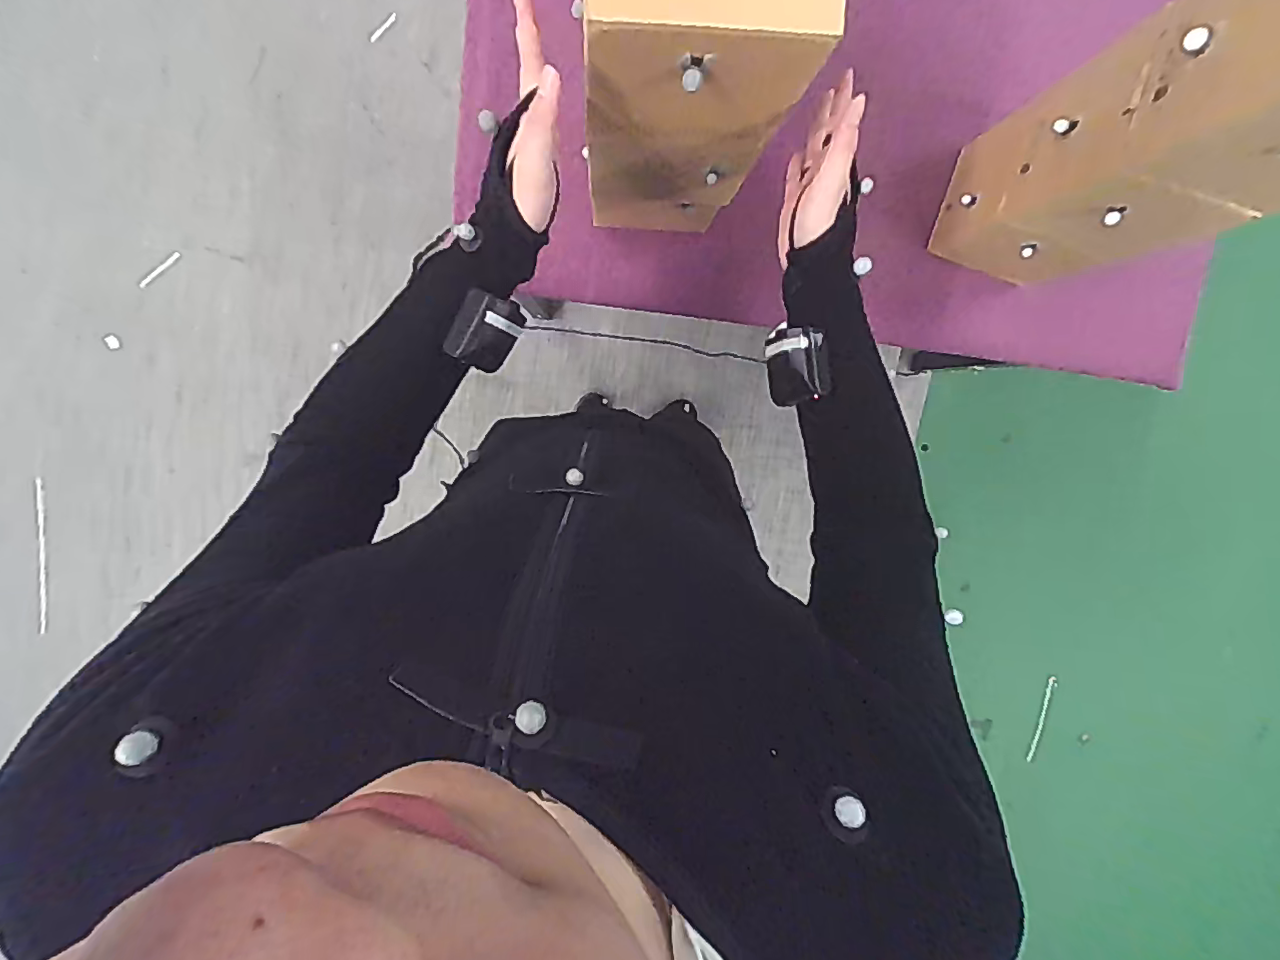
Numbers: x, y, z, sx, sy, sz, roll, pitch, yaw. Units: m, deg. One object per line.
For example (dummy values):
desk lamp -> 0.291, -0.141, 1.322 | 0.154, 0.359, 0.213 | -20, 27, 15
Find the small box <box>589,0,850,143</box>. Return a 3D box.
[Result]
small box -> 0.049, -0.387, 0.421 | 0.179, 0.176, 0.168 | 0, 100, -4

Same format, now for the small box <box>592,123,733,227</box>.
small box -> 0.025, -0.458, 0.739 | 0.179, 0.176, 0.168 | 2, 99, -4

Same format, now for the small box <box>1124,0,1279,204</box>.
small box -> 0.588, -0.359, 0.460 | 0.179, 0.176, 0.168 | 13, 98, -5

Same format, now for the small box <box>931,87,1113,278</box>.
small box -> 0.566, -0.411, 0.783 | 0.179, 0.176, 0.168 | 17, 98, -7

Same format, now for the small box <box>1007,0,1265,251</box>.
small box -> 0.576, -0.384, 0.622 | 0.179, 0.176, 0.168 | 14, 99, -5
